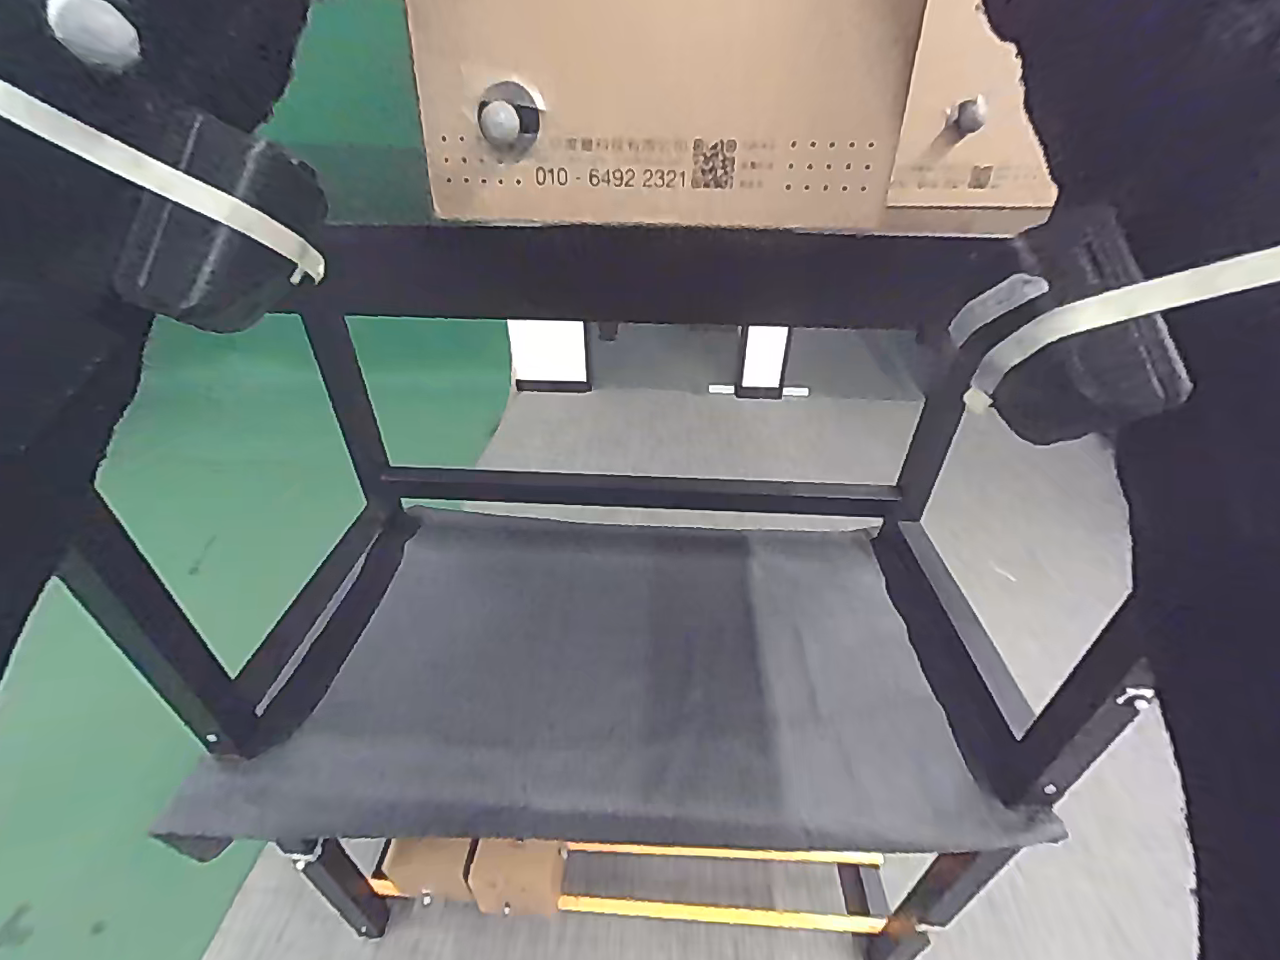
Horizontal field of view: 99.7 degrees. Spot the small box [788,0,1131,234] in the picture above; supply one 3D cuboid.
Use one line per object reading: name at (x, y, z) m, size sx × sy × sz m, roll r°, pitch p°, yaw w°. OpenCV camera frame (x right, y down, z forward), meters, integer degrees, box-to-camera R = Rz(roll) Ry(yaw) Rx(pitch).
small box at (0.226, -0.307, 0.436) m, size 0.168 × 0.176 × 0.179 m, roll 1°, pitch 35°, yaw 1°
